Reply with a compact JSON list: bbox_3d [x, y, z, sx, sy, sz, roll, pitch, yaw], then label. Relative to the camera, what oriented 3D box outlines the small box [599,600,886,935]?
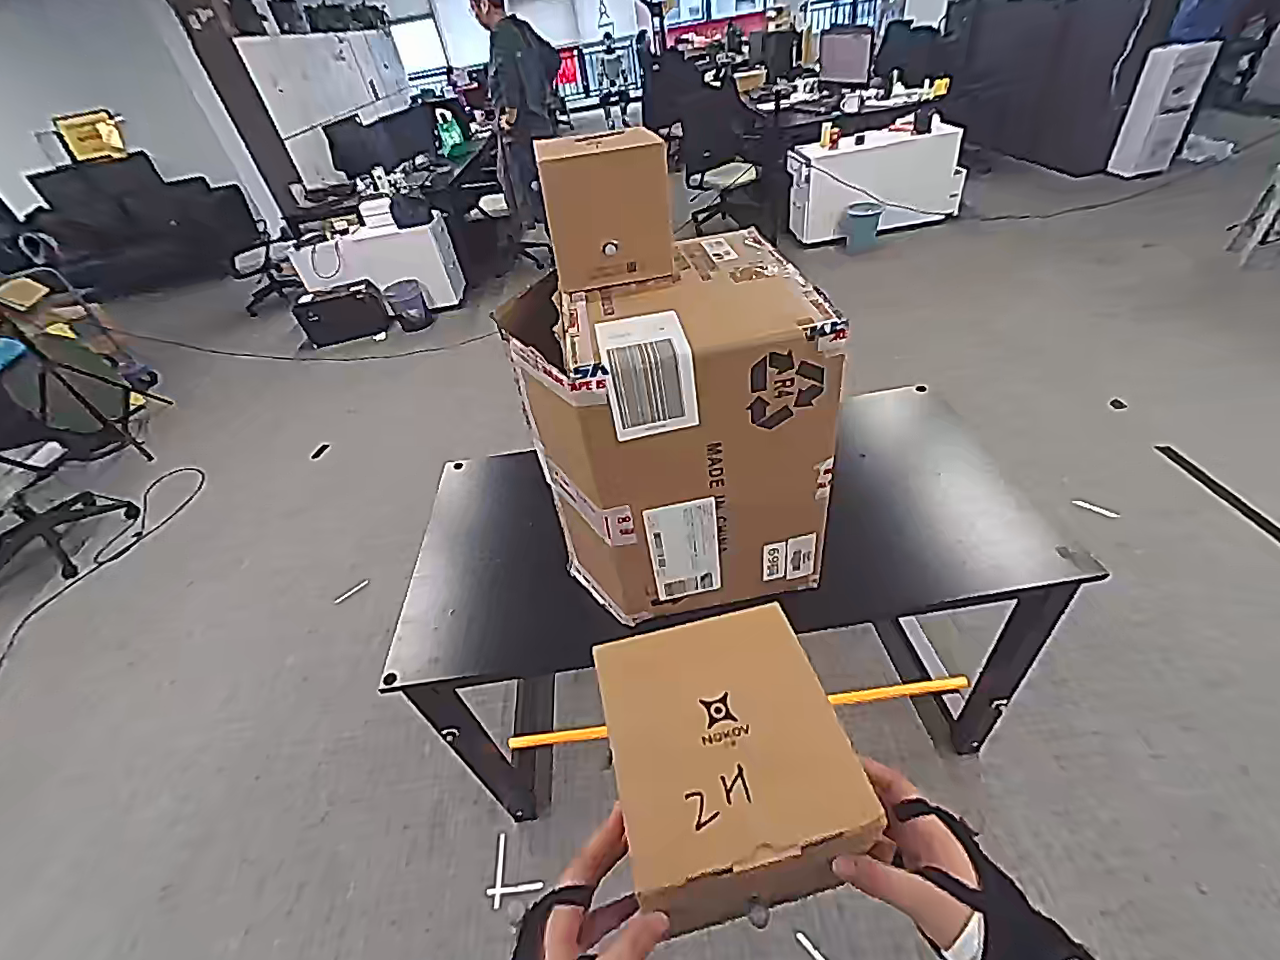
[{"bbox_3d":[0.066,0.233,0.448,0.168,0.176,0.179,-12,42,-6],"label":"small box"}]

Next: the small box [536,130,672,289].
[{"bbox_3d":[-0.052,-0.394,0.786,0.168,0.176,0.179,-11,39,-4],"label":"small box"}]
